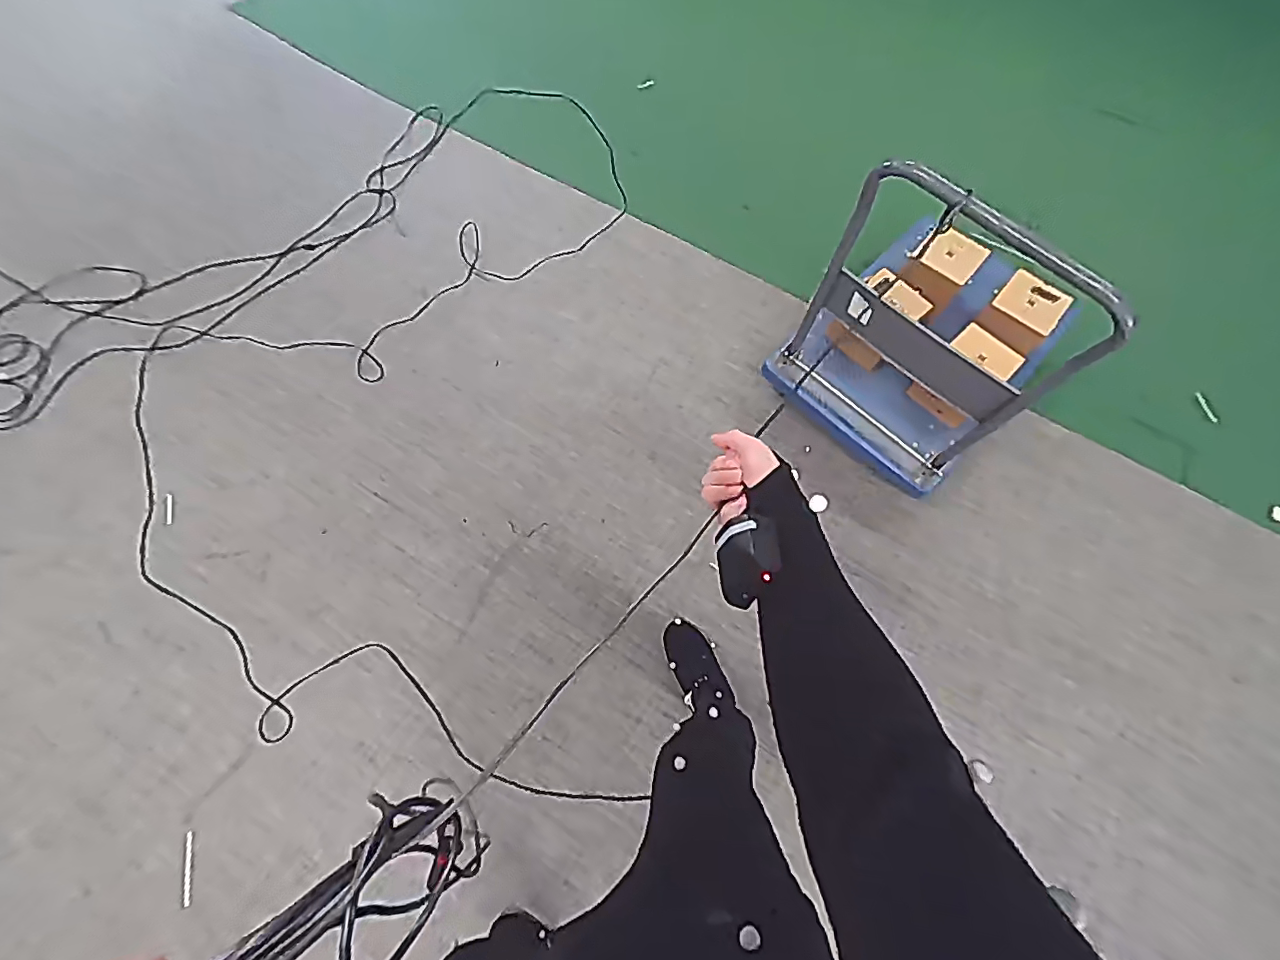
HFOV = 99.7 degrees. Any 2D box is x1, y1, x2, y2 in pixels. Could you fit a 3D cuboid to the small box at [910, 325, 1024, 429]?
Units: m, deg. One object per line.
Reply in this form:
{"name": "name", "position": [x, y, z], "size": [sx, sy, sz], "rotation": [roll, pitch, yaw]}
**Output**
{"name": "small box", "position": [0.873, -0.274, 1.462], "size": [0.179, 0.176, 0.168], "rotation": [-41, 74, -17]}

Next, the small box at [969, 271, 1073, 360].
{"name": "small box", "position": [1.064, -0.449, 1.541], "size": [0.168, 0.176, 0.179], "rotation": [39, 72, 15]}

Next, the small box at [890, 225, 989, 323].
{"name": "small box", "position": [0.874, -0.603, 1.600], "size": [0.168, 0.176, 0.179], "rotation": [40, 71, 13]}
